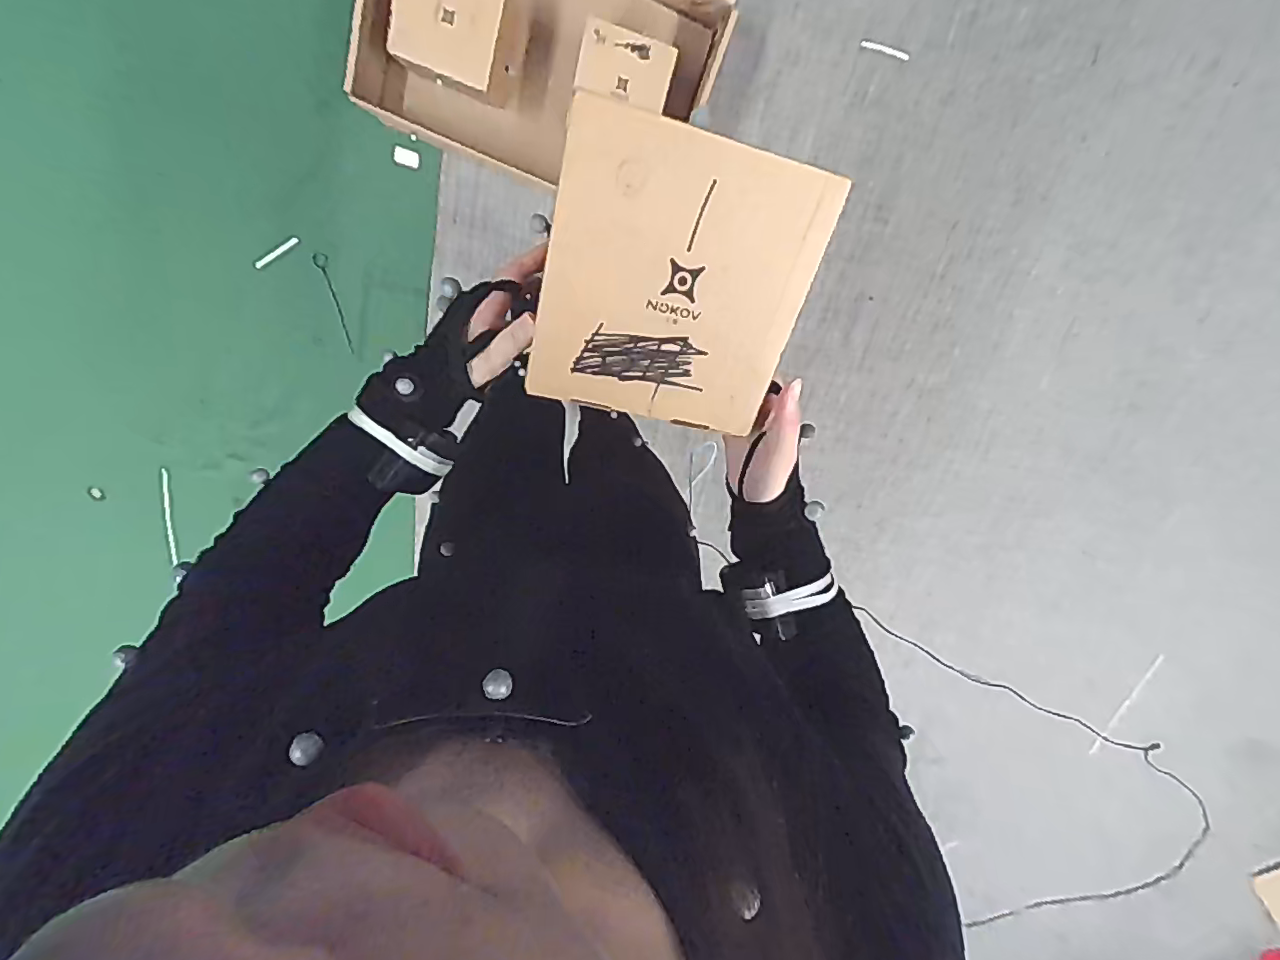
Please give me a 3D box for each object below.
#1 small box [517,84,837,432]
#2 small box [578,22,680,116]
[{"bbox_3d":[0.011,-0.163,0.407,0.168,0.176,0.179,10,120,-12],"label":"small box"},{"bbox_3d":[-0.032,-0.719,1.038,0.168,0.176,0.179,15,114,-9],"label":"small box"}]
